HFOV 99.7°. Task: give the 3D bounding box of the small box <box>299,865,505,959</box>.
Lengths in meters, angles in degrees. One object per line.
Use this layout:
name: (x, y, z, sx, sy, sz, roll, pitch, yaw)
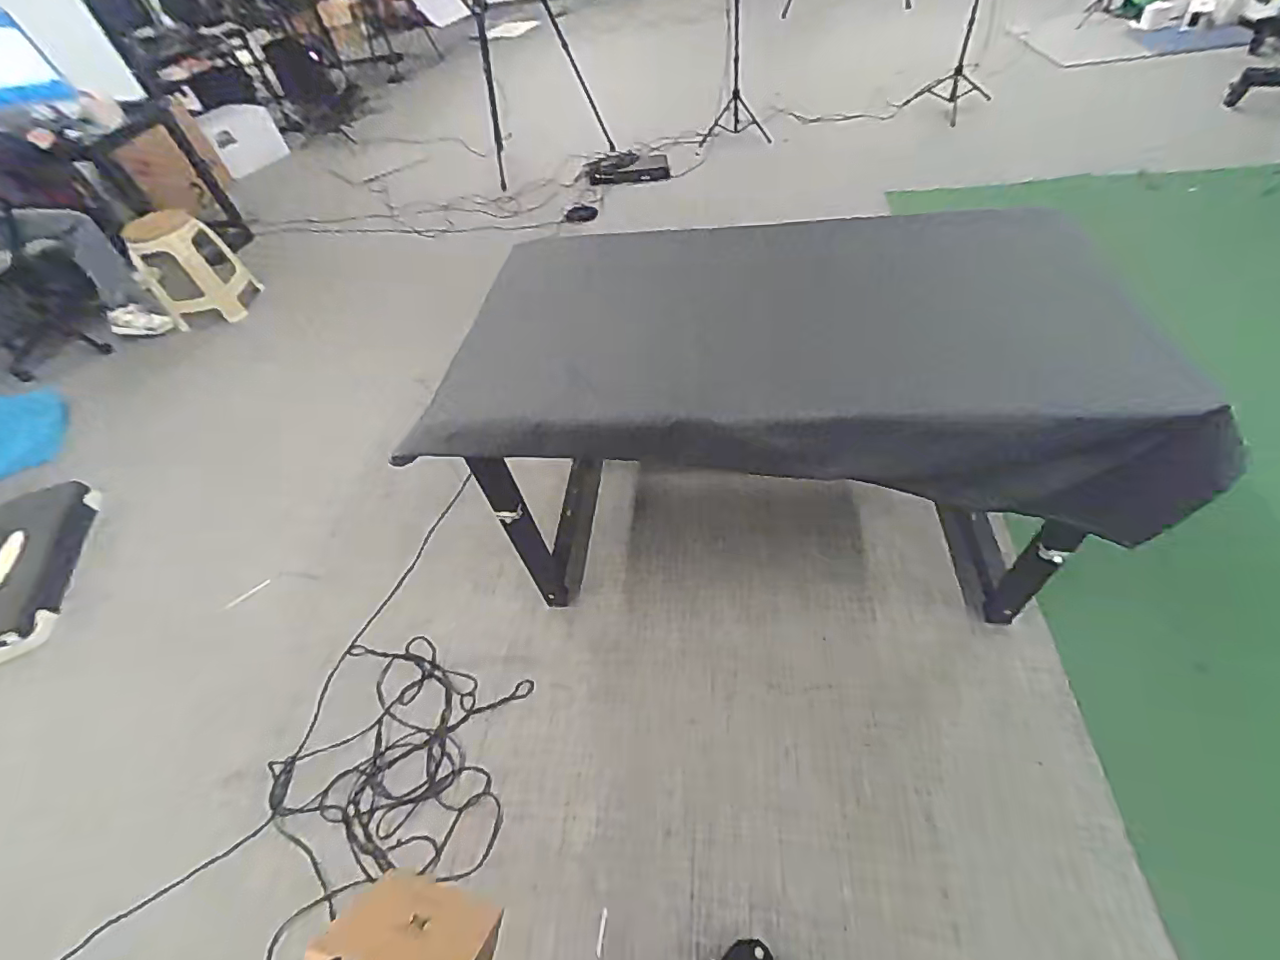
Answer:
small box: (-0.274, 0.584, 0.603, 0.168, 0.179, 0.176, 13, 78, 7)
